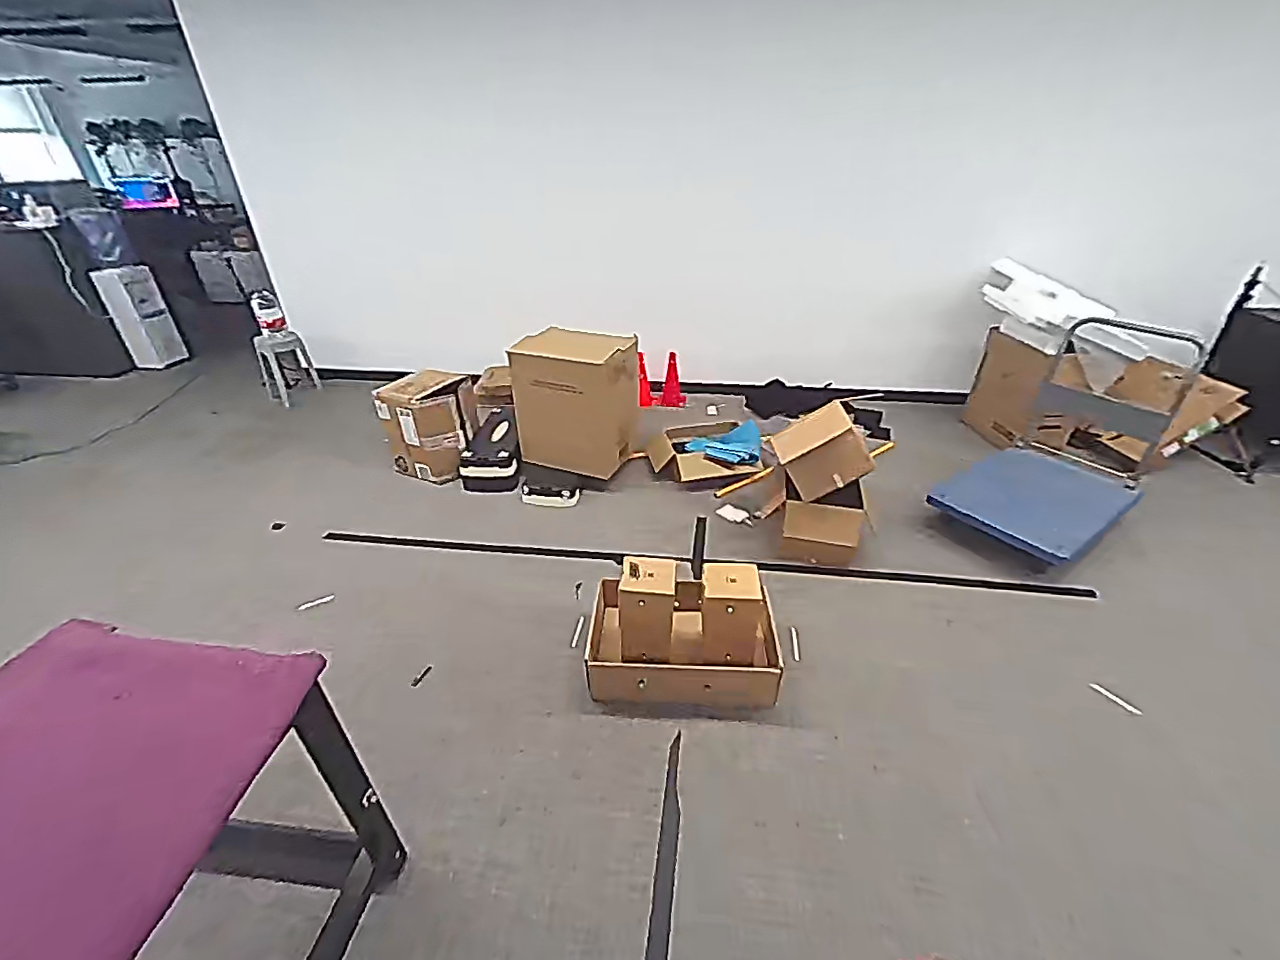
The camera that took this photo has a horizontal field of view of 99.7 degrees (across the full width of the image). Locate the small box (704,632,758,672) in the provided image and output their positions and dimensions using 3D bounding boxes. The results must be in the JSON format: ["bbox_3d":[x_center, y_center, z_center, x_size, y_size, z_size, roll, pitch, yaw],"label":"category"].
[{"bbox_3d":[0.306,0.529,1.835,0.168,0.176,0.179,2,30,4],"label":"small box"}]

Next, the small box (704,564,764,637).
[{"bbox_3d":[0.299,0.391,1.749,0.179,0.176,0.168,0,31,5],"label":"small box"}]

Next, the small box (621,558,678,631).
[{"bbox_3d":[0.033,0.378,1.776,0.179,0.176,0.168,4,32,4],"label":"small box"}]
